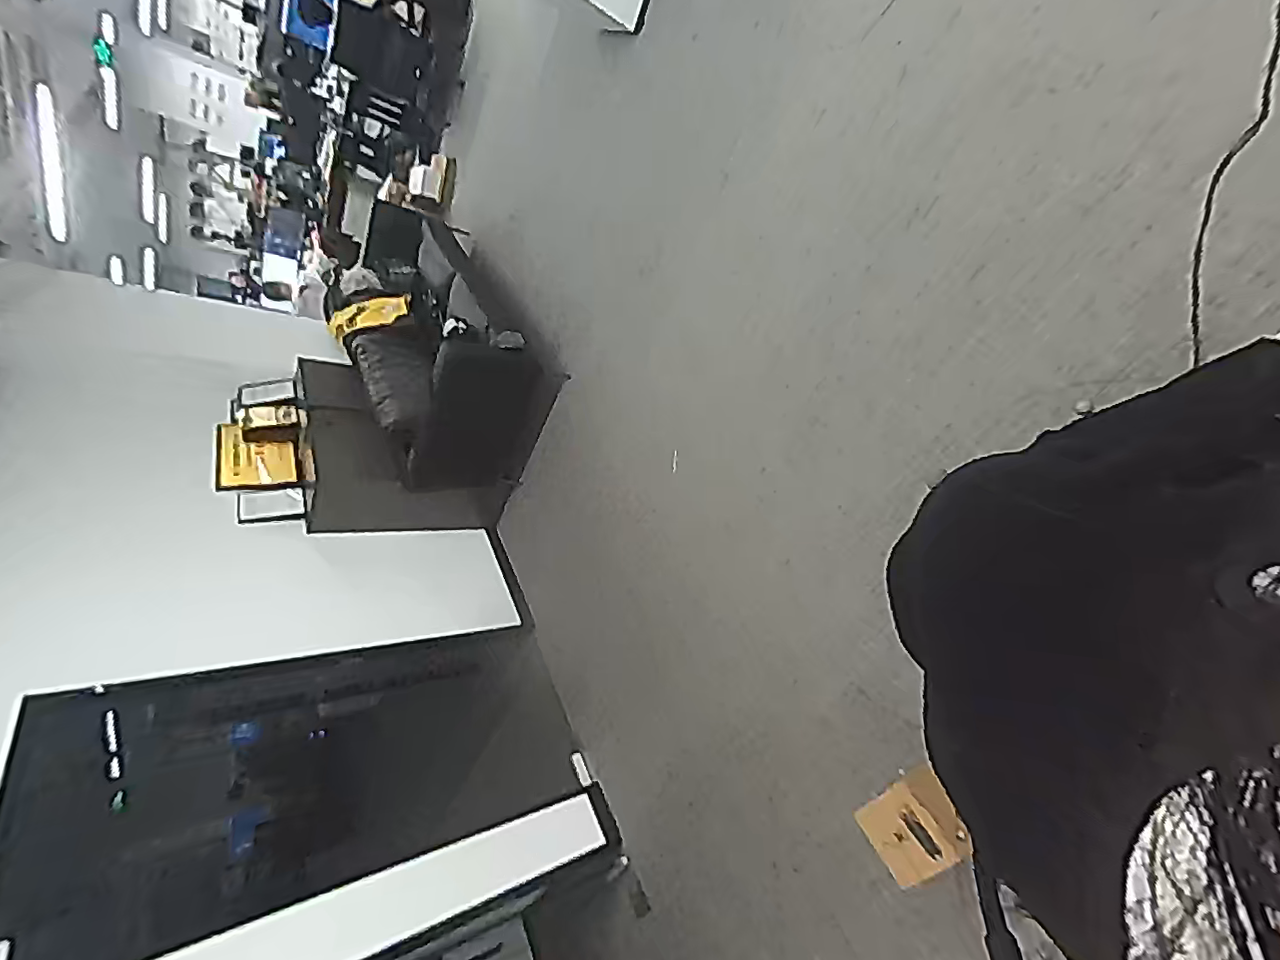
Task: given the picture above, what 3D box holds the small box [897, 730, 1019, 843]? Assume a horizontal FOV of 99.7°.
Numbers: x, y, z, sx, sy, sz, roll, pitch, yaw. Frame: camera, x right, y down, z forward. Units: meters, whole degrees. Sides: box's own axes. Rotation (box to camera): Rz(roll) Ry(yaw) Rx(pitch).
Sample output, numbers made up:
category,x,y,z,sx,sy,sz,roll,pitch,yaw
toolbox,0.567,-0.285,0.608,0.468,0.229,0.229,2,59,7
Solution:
category,x,y,z,sx,sy,sz,roll,pitch,yaw
small box,0.799,0.762,1.356,0.168,0.176,0.179,56,129,35
